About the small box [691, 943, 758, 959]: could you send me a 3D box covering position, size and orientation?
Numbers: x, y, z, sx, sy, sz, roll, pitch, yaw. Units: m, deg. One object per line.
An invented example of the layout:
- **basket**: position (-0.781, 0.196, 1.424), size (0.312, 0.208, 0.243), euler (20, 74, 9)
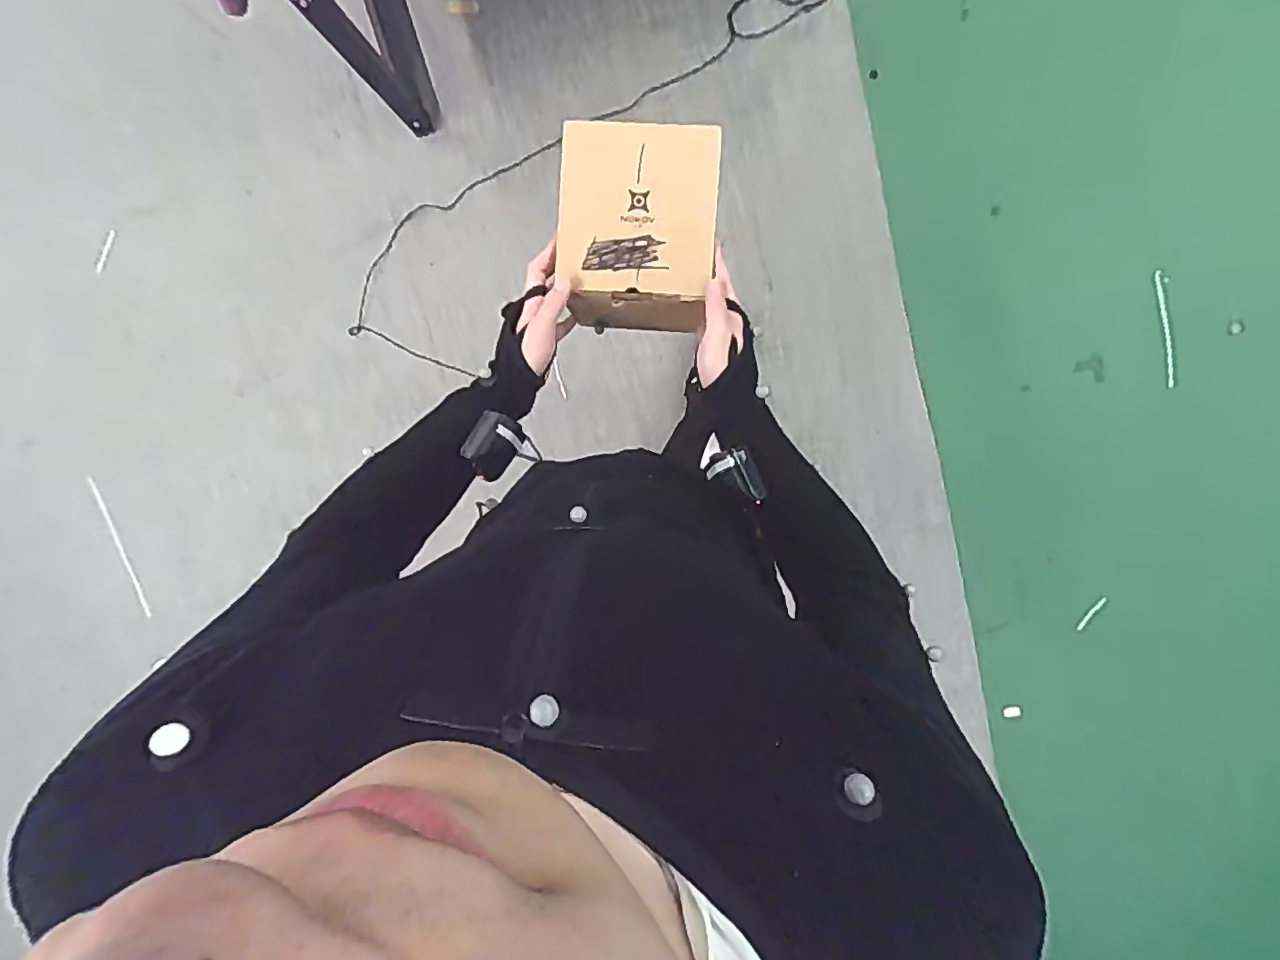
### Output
- **small box**: position (0.220, 1.245, 1.268), size (0.179, 0.176, 0.168), euler (-21, 98, 6)

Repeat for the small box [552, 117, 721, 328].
- **small box**: position (0.000, -0.285, 0.634), size (0.168, 0.176, 0.179), euler (4, 93, 2)
